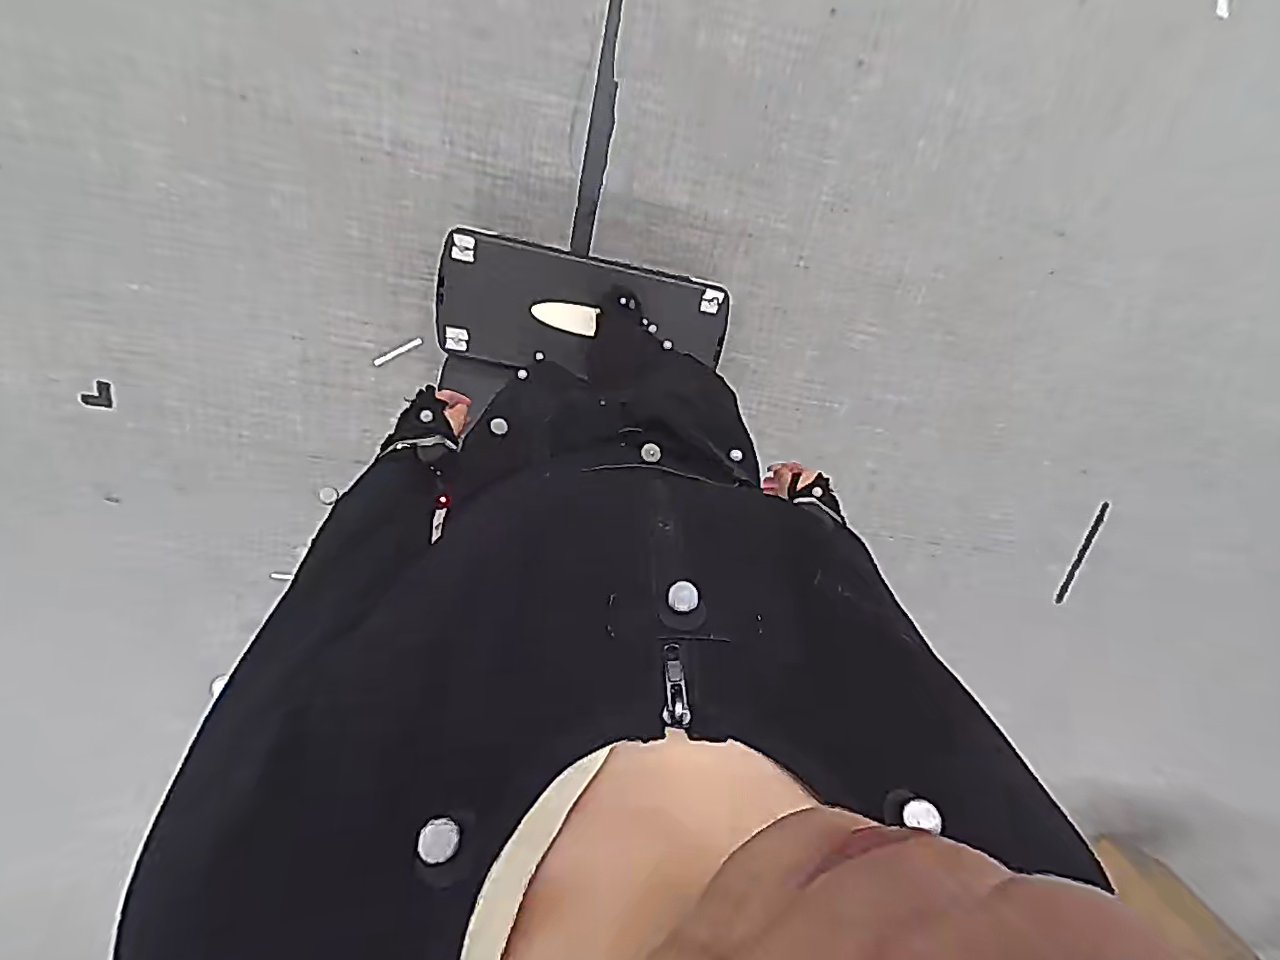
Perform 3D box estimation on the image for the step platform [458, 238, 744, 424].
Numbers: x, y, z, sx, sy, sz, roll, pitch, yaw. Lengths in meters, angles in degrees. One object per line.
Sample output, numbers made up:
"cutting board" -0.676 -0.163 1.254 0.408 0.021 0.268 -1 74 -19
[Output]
"step platform" -0.093 -0.358 1.344 0.684 0.204 0.286 13 107 -11
